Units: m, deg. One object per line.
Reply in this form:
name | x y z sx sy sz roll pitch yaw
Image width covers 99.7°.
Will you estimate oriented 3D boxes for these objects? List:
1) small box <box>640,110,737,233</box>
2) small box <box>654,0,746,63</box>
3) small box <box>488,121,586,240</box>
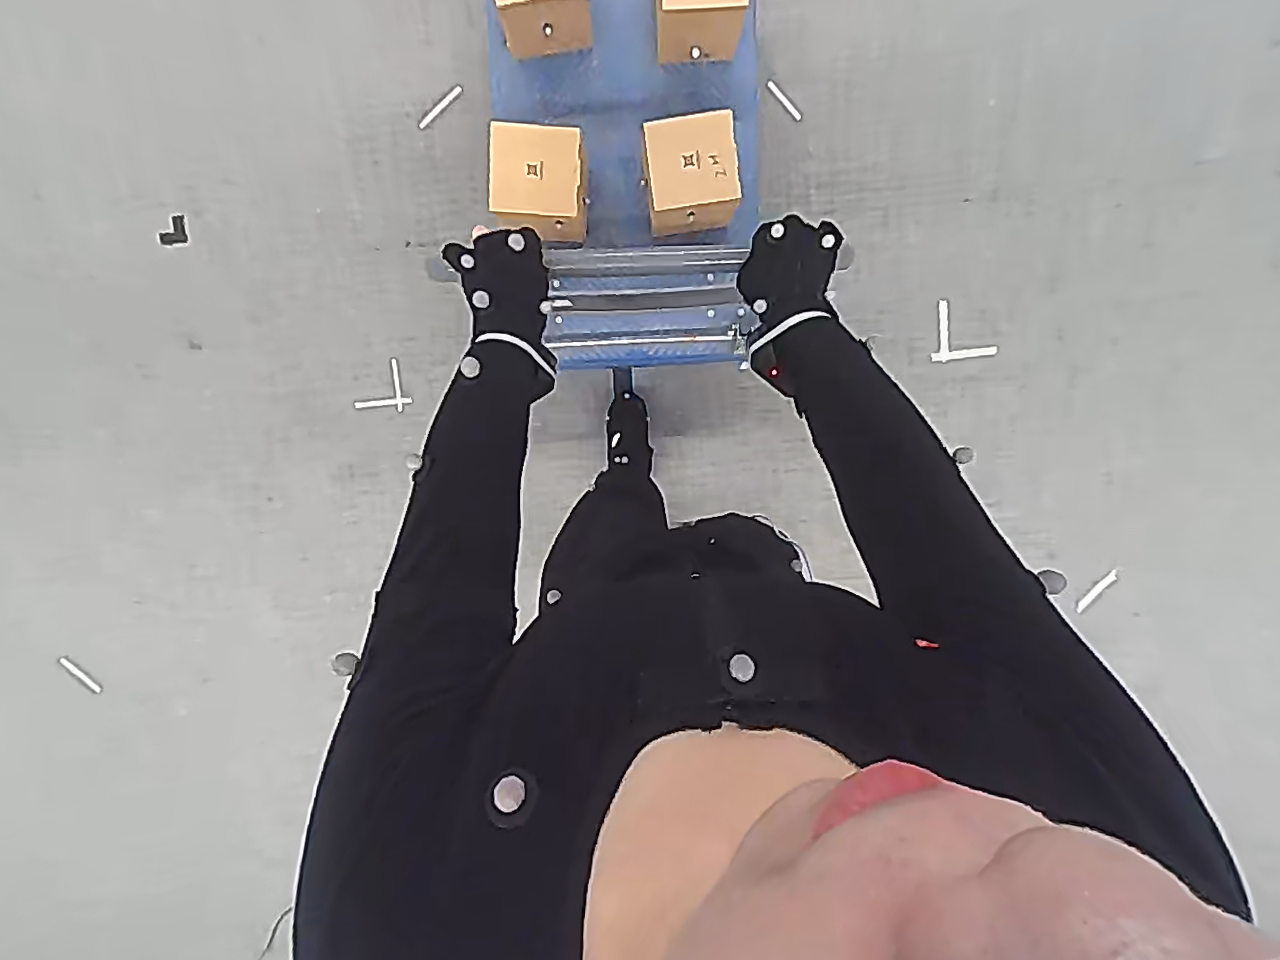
small box | 0.097 -0.634 1.133 0.179 0.176 0.168 -8 98 1
small box | 0.114 -0.983 1.084 0.168 0.176 0.179 -3 99 0
small box | -0.210 -0.617 1.133 0.179 0.176 0.168 3 97 -3
